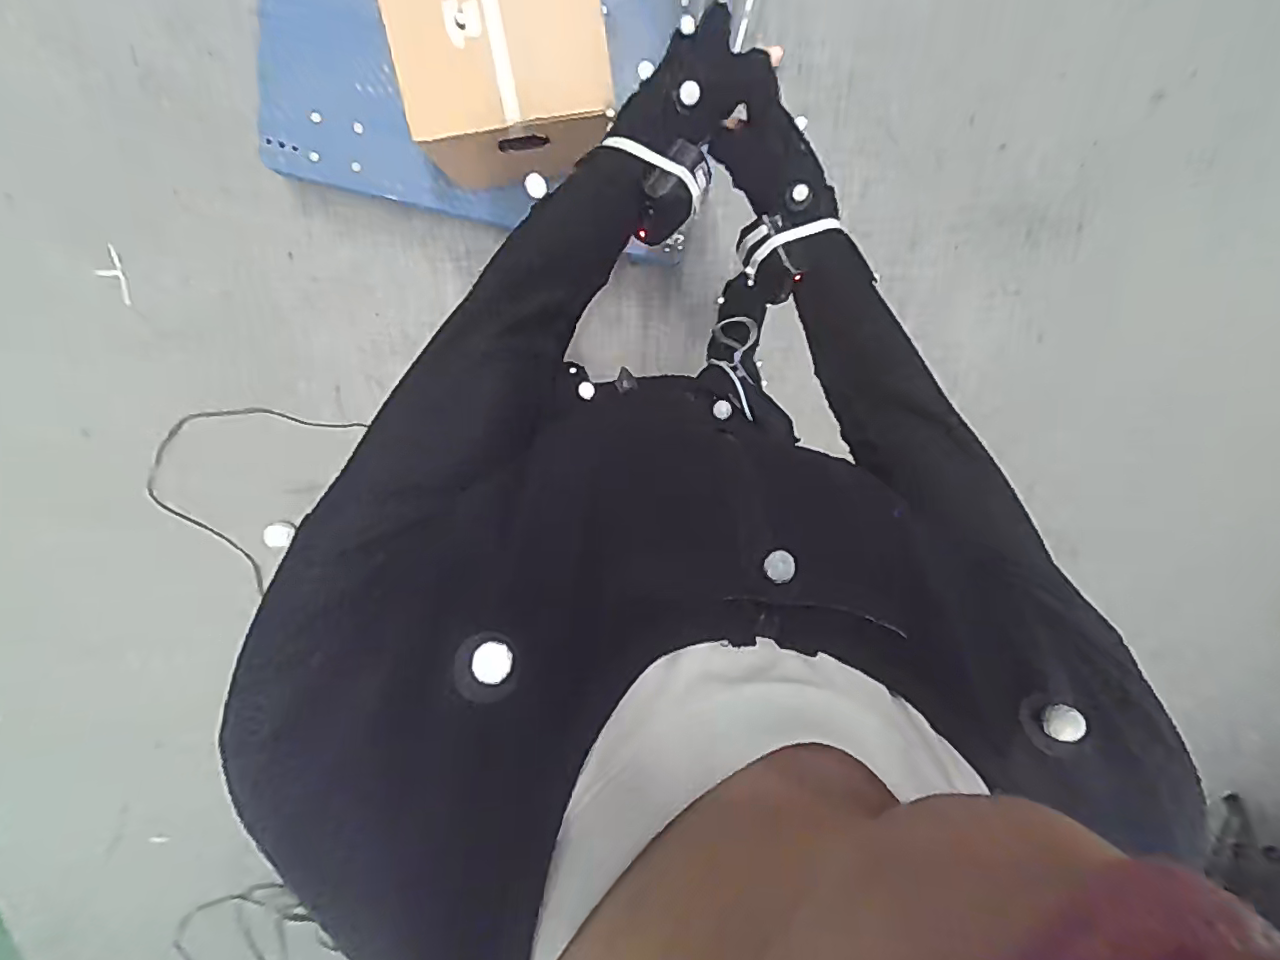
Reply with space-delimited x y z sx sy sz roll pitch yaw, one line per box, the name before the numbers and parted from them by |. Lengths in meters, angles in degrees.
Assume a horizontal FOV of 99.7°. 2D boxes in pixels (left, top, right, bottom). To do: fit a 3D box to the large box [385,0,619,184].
large box | -0.224 -0.767 0.899 0.320 0.320 0.408 -9 107 -1
